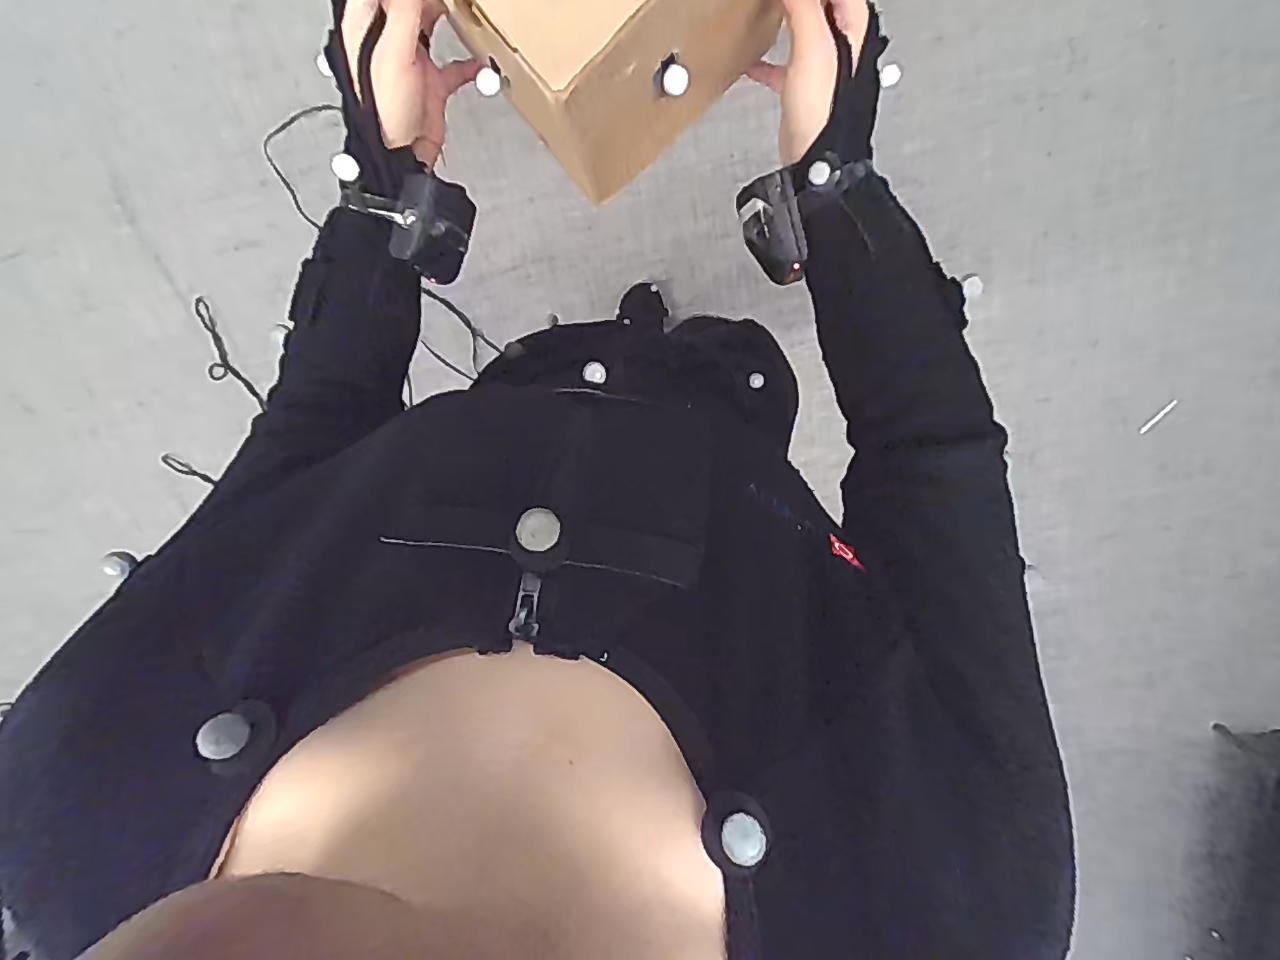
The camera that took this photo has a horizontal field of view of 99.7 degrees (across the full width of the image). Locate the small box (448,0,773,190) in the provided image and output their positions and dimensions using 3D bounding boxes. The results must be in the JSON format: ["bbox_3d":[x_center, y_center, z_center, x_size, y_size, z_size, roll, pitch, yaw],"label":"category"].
[{"bbox_3d":[-0.023,-0.320,0.329,0.179,0.176,0.168,-40,95,10],"label":"small box"}]
